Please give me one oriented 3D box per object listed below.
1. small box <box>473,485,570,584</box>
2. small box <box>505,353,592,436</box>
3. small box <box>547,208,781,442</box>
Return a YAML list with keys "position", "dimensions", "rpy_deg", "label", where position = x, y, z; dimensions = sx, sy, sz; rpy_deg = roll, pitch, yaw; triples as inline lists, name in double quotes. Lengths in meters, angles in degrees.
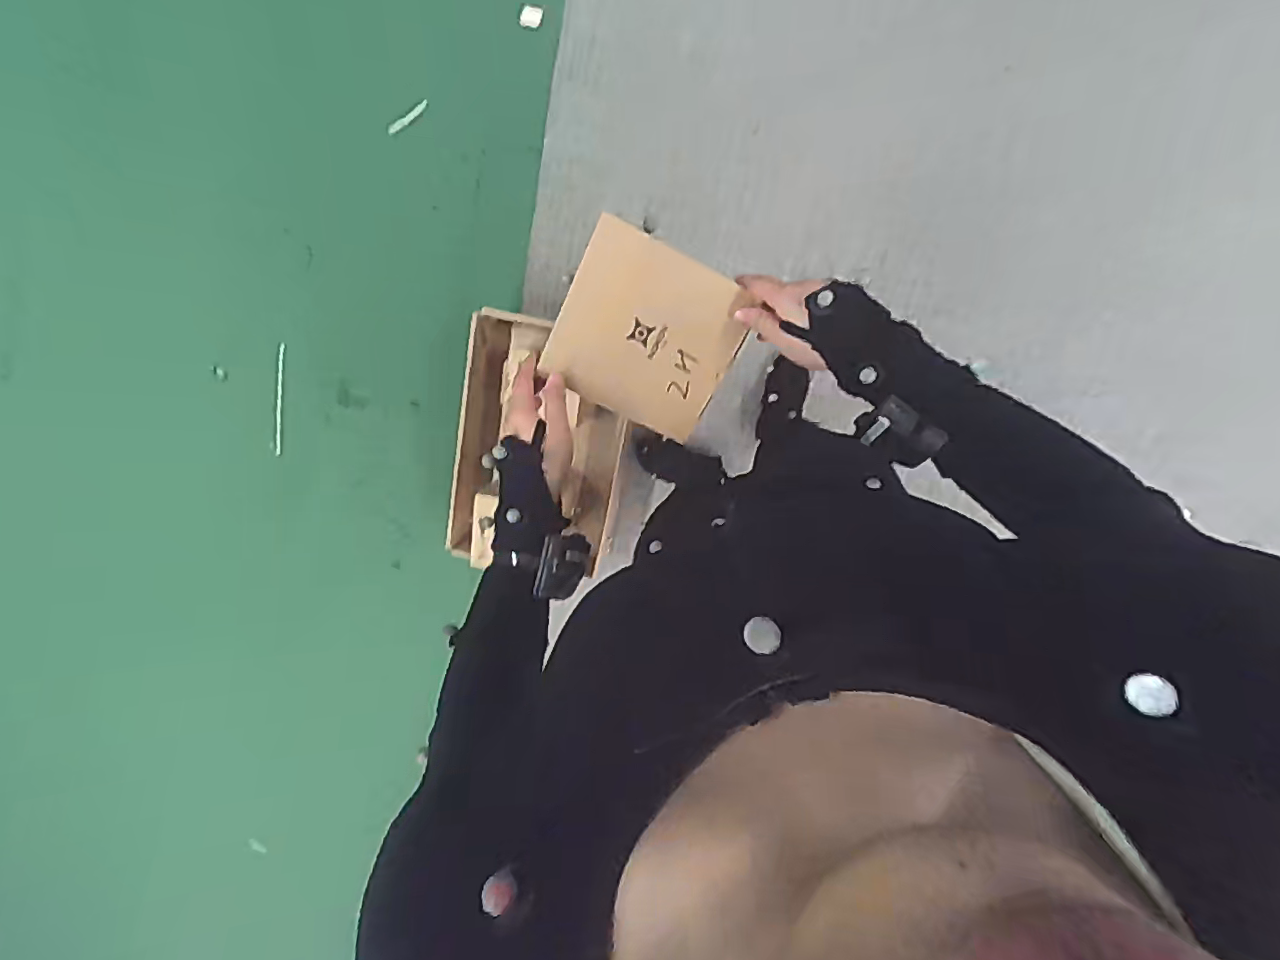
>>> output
- position: [-0.262, 0.116, 1.229]
  dimensions: [0.179, 0.176, 0.168]
  rpy_deg: [8, 104, 1]
  label: "small box"
- position: [-0.214, -0.213, 1.318]
  dimensions: [0.179, 0.176, 0.168]
  rpy_deg: [9, 104, 0]
  label: "small box"
- position: [0.018, -0.171, 0.592]
  dimensions: [0.179, 0.176, 0.168]
  rpy_deg: [24, 112, -13]
  label: "small box"
